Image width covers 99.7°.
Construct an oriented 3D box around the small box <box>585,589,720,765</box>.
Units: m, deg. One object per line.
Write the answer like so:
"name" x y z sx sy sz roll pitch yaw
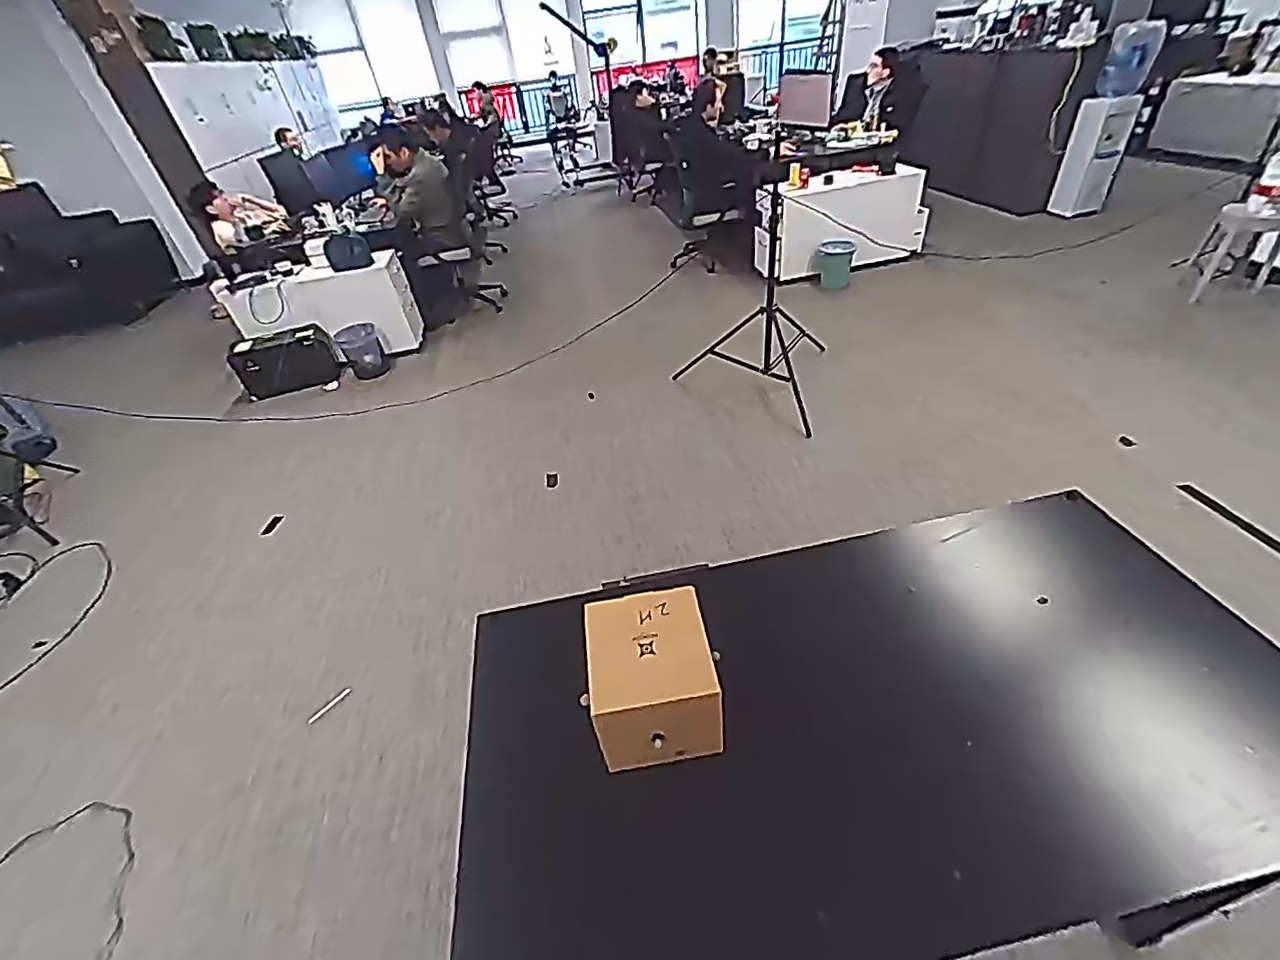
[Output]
"small box" 0.018 0.290 0.786 0.168 0.176 0.179 -10 38 -2
